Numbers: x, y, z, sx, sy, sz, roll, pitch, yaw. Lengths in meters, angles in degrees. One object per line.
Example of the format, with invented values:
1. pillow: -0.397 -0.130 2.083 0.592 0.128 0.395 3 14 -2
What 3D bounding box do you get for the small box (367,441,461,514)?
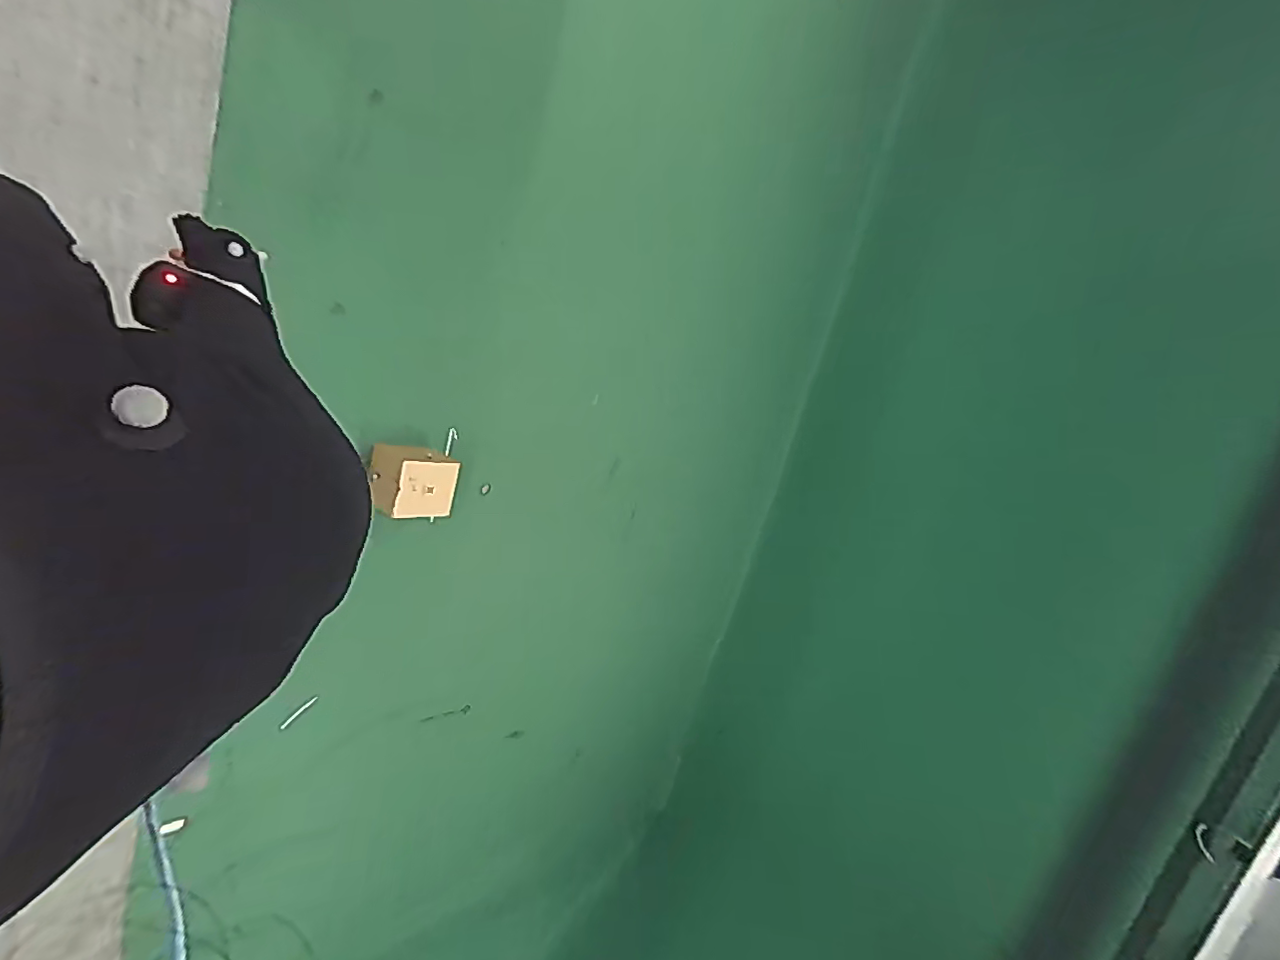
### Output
1. small box: -0.652 -0.009 1.556 0.179 0.176 0.168 2 108 -52
